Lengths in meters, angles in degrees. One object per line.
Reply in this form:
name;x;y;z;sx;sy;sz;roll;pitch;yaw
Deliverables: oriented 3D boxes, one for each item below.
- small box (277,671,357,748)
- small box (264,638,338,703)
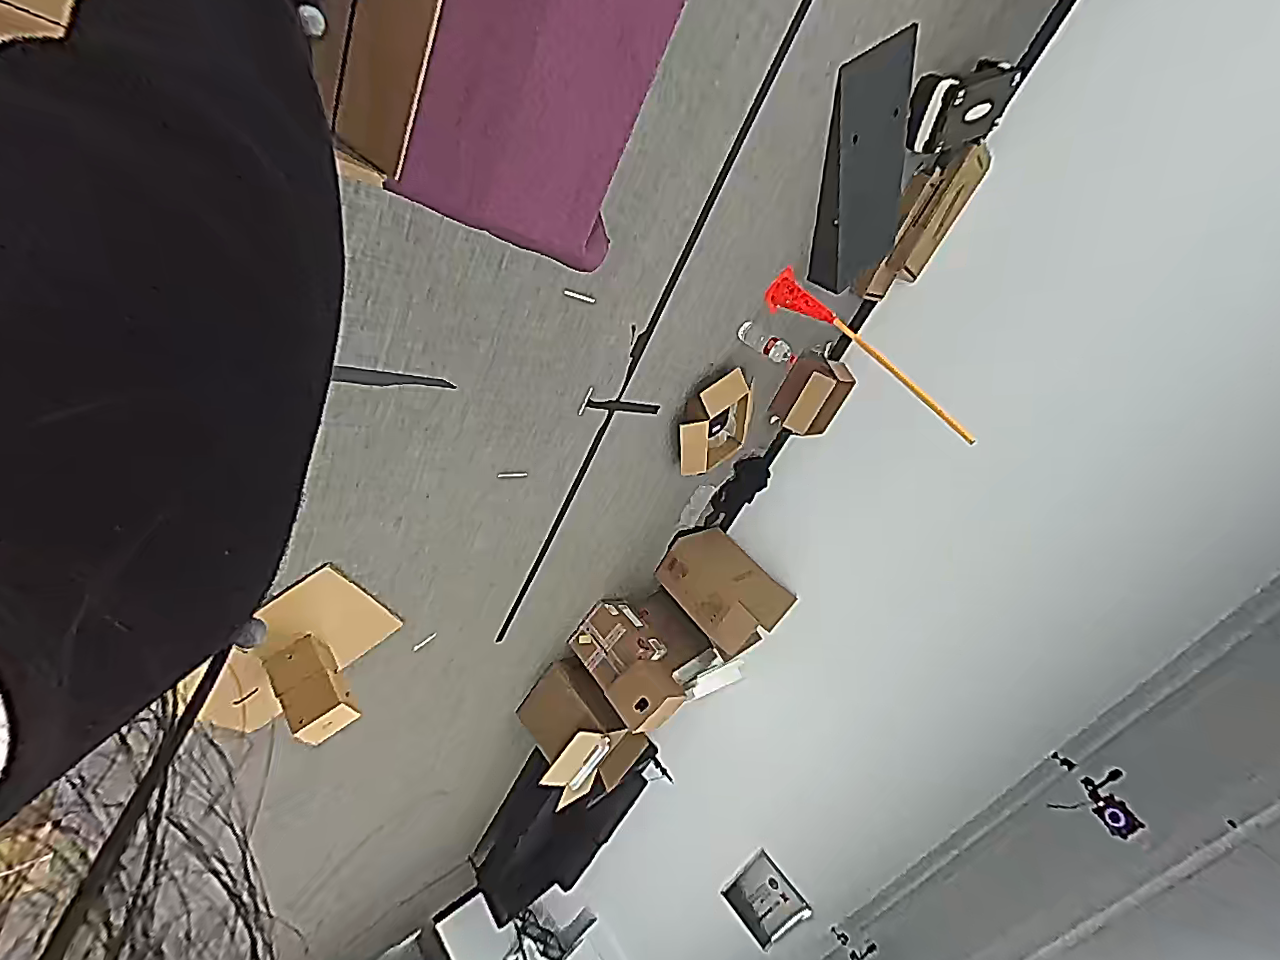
small box;-1.176;0.831;1.966;0.179;0.176;0.168;-32;149;-22
small box;-1.283;0.734;2.043;0.179;0.176;0.168;-33;149;-20
